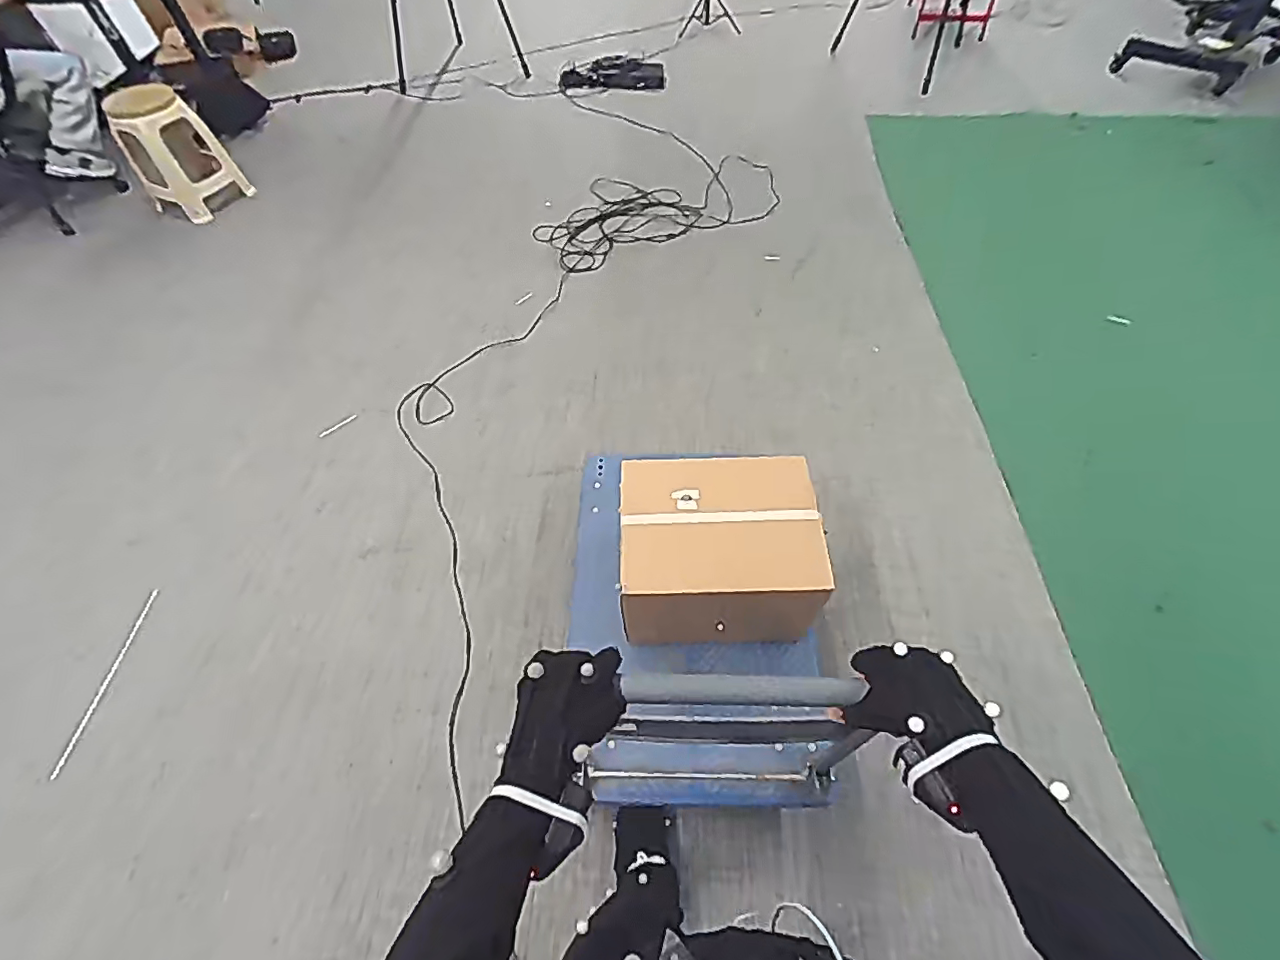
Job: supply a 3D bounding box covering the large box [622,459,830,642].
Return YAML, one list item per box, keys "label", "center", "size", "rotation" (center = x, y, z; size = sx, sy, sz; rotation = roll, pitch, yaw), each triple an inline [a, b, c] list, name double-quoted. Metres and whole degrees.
- label: "large box"
  center: [0.172, 0.171, 1.235]
  size: [0.408, 0.320, 0.320]
  rotation: [-2, 55, 3]
